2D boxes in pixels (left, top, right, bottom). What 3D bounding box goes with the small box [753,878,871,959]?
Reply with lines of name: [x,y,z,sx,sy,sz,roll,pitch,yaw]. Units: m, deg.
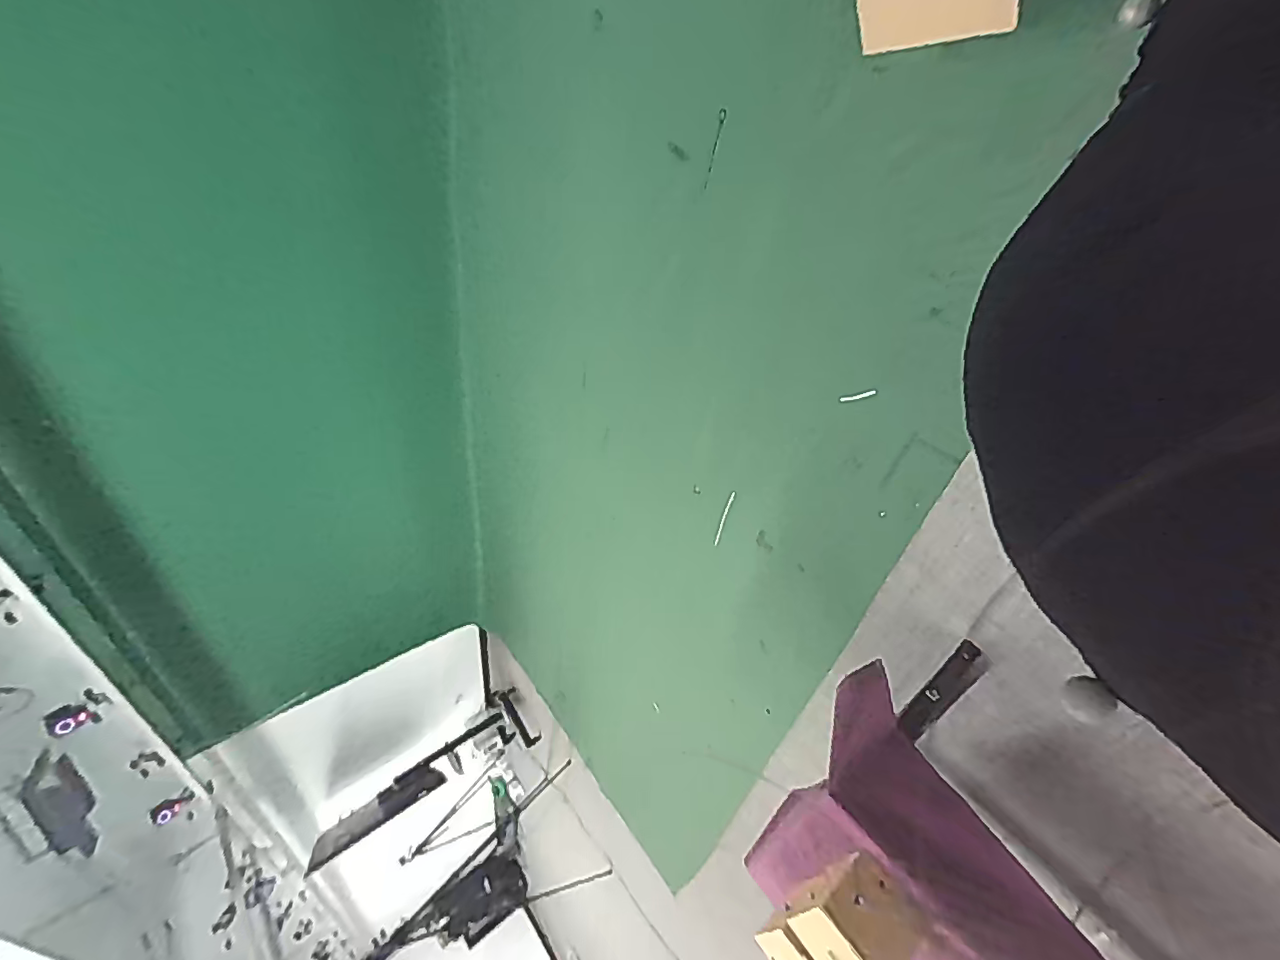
small box: [0.403,1.069,1.254,0.168,0.176,0.179,48,140,27]
